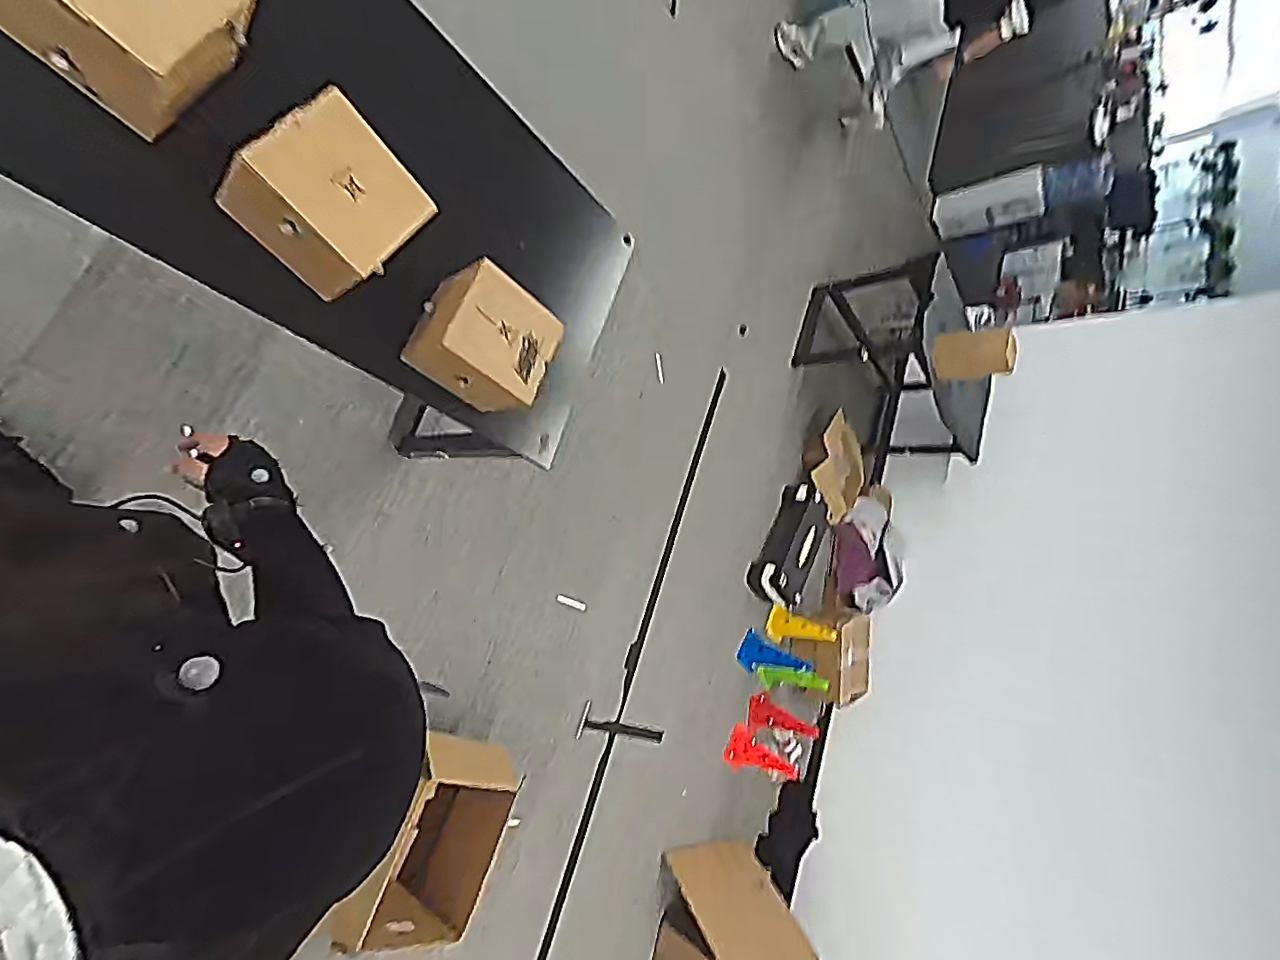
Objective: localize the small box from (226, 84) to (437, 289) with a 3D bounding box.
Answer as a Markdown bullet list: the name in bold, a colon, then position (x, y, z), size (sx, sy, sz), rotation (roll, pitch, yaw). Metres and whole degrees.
- **small box**: position (-0.430, -0.391, 0.758), size (0.179, 0.176, 0.168), rotation (46, 61, -34)

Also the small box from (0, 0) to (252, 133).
- **small box**: position (-0.580, -0.542, 0.603), size (0.168, 0.176, 0.179), rotation (38, 66, -38)

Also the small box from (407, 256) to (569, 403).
- **small box**: position (-0.261, -0.244, 0.927), size (0.179, 0.176, 0.168), rotation (34, 68, -39)
